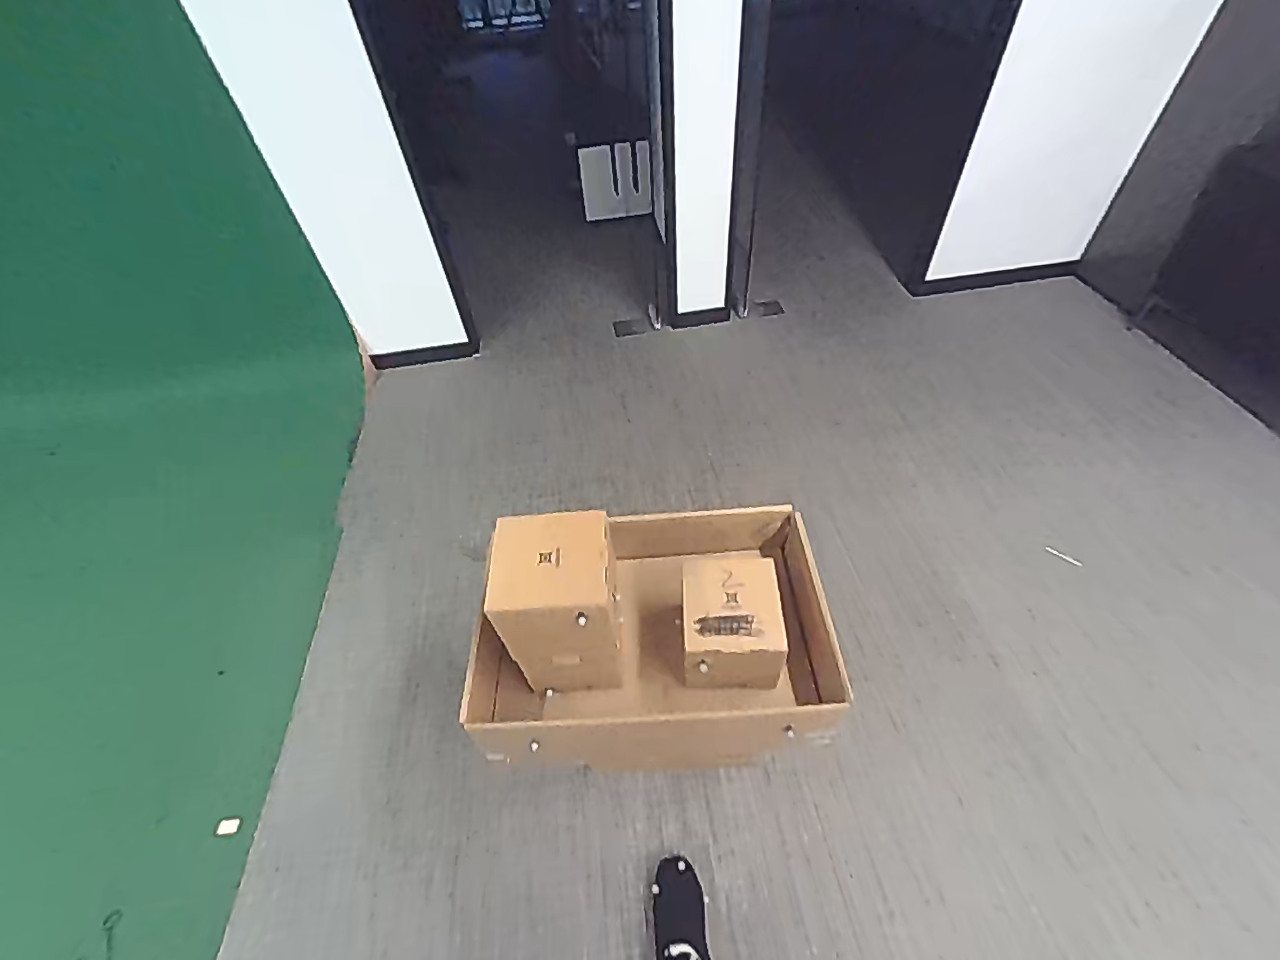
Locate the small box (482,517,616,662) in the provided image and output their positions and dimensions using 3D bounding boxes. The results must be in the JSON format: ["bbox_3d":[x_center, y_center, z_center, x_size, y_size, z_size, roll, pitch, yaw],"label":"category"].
[{"bbox_3d":[-0.134,0.178,0.862,0.179,0.176,0.168,-4,48,-1],"label":"small box"}]
